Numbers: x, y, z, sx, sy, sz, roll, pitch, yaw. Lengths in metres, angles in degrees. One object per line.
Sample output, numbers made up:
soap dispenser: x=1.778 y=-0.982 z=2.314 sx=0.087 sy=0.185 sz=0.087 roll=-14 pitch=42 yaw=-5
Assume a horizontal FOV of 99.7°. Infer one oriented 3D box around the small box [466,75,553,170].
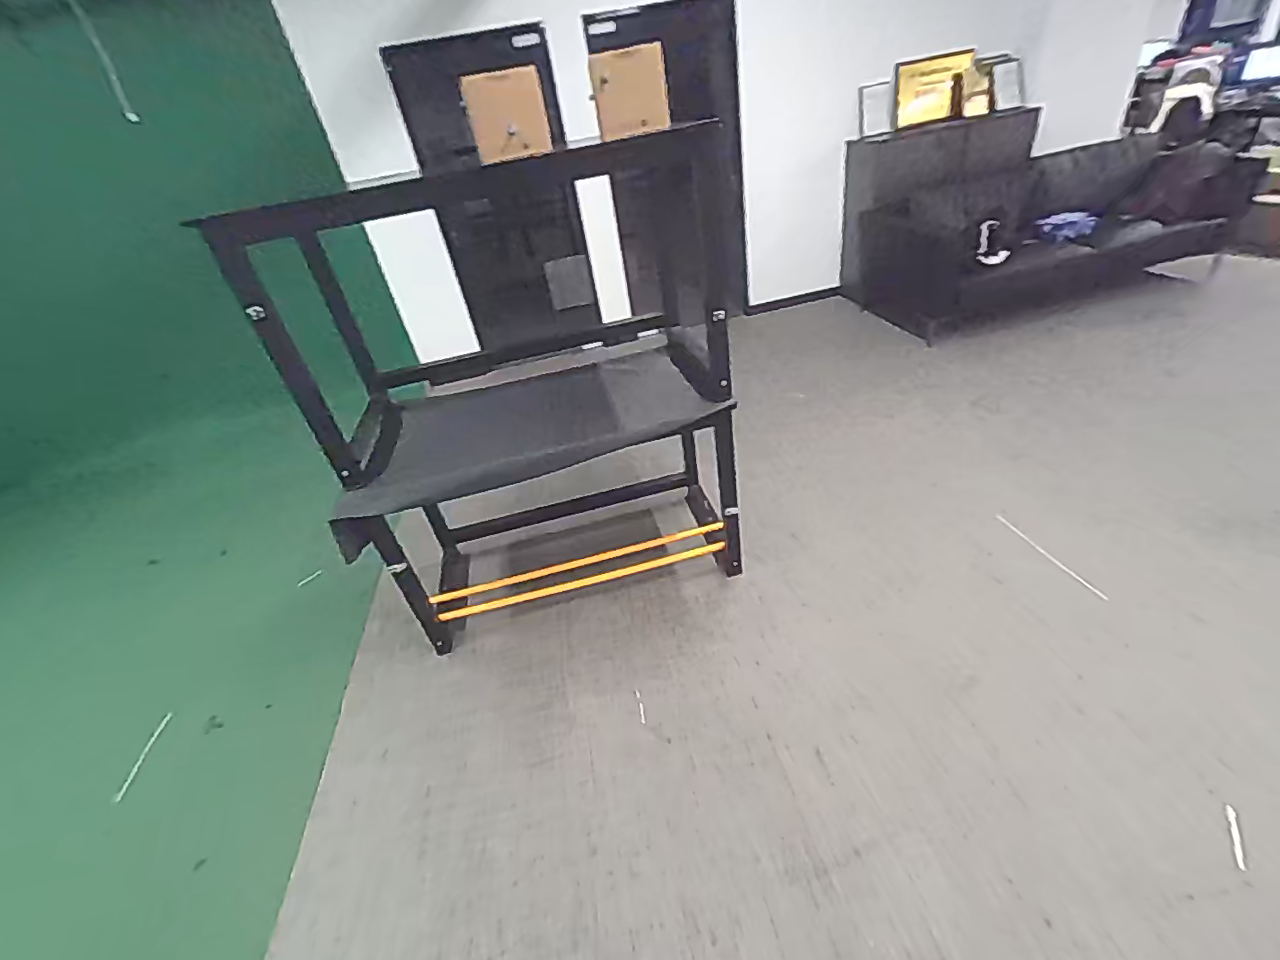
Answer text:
small box: x=-0.321 y=-0.871 z=1.329 sx=0.168 sy=0.176 sz=0.179 roll=-17 pitch=34 yaw=-9
